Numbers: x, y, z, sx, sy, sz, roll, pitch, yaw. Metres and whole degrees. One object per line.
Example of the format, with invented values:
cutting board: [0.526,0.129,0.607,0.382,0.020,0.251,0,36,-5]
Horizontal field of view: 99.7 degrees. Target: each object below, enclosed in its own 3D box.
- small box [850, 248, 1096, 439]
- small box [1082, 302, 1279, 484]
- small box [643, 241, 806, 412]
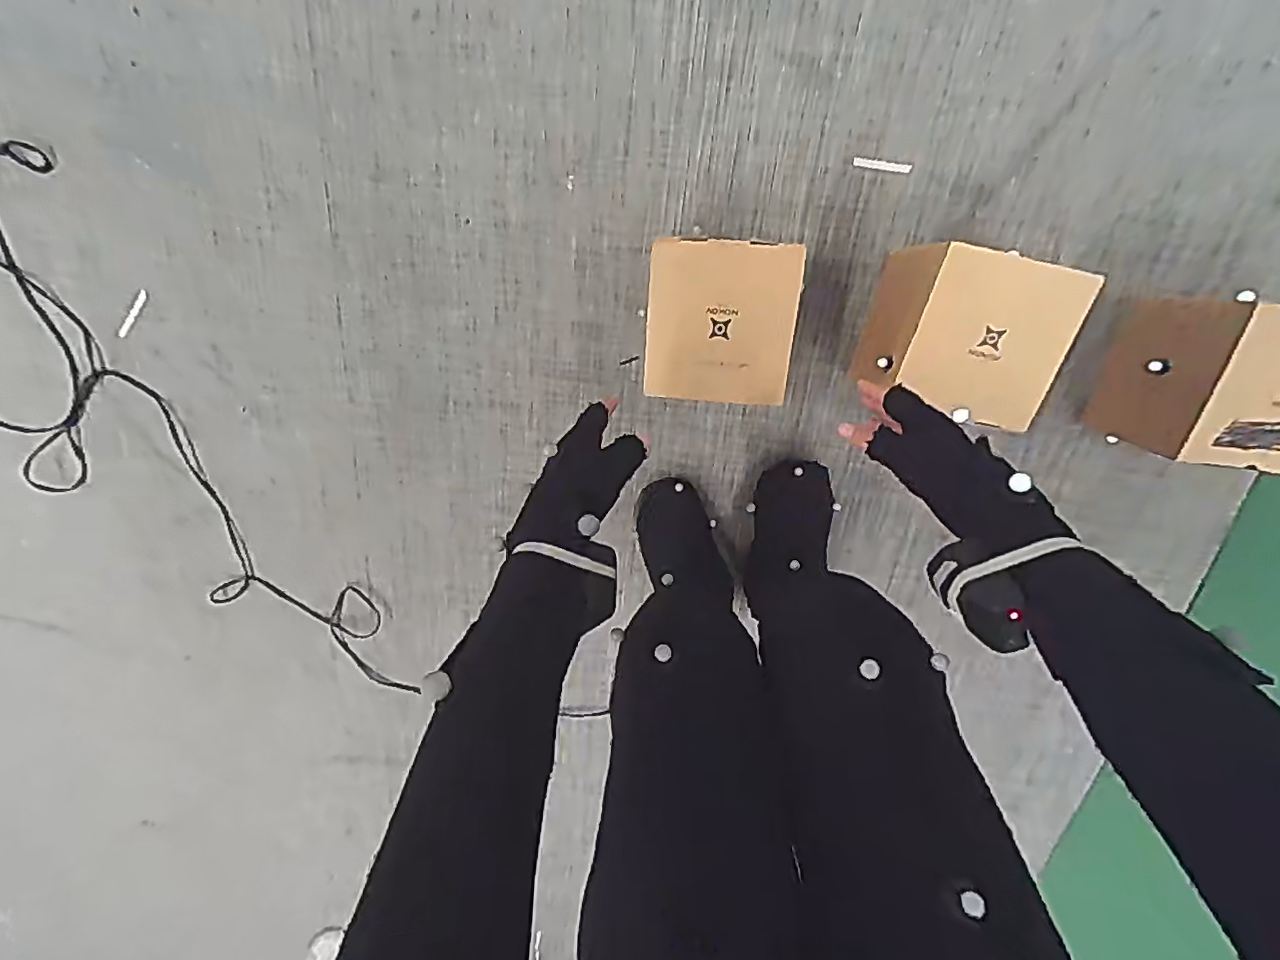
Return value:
small box: [0.380,-0.171,0.661,0.168,0.176,0.179,13,112,-1]
small box: [0.694,-0.112,0.656,0.168,0.176,0.179,9,110,2]
small box: [0.097,-0.196,0.677,0.168,0.176,0.179,5,113,5]
